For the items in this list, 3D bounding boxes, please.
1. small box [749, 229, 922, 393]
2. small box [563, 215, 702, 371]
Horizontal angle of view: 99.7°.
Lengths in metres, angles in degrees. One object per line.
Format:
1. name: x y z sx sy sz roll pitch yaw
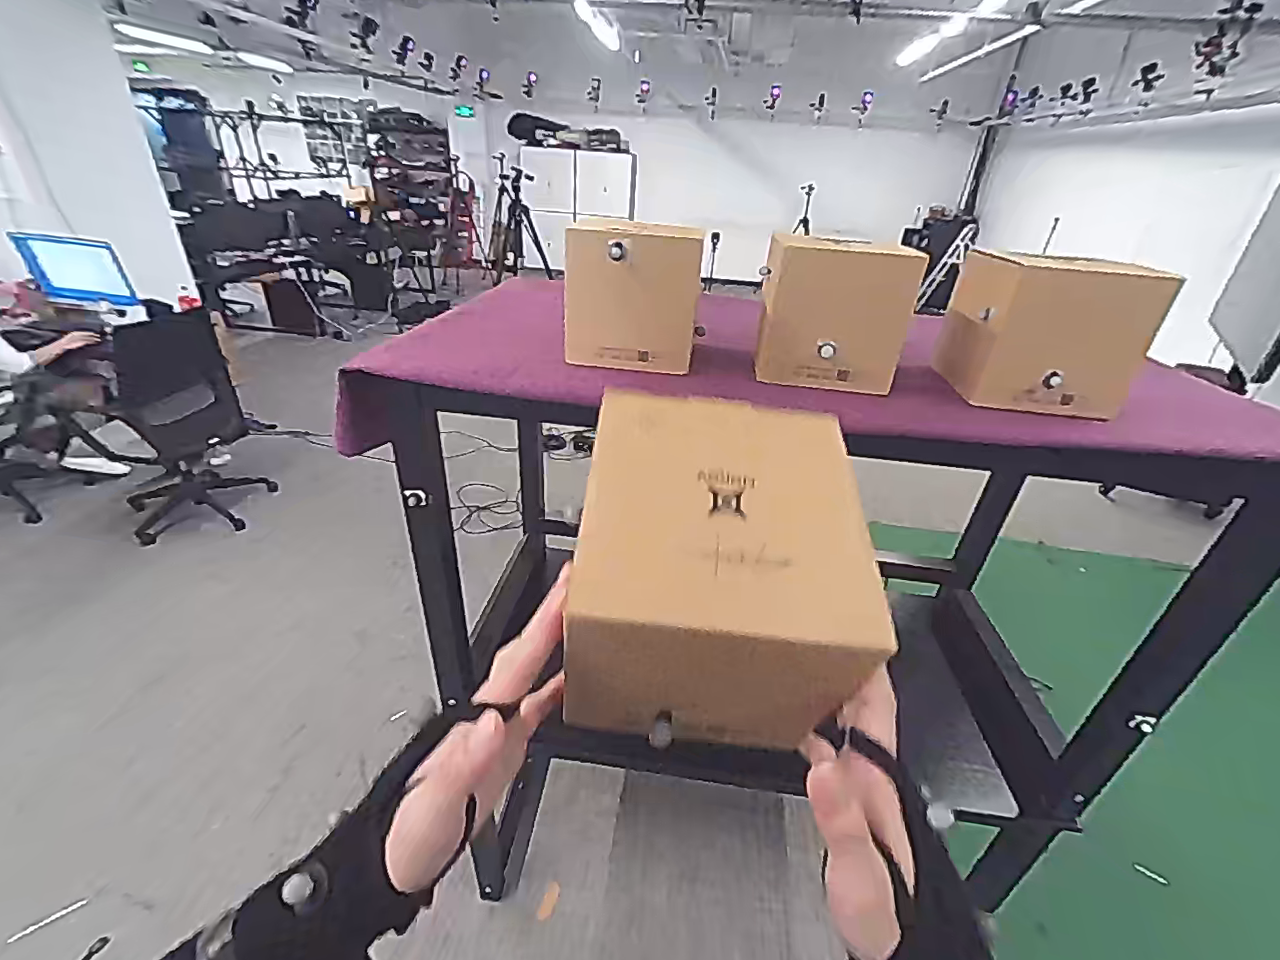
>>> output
1. small box: 0.242 -0.230 0.722 0.168 0.176 0.179 7 30 5
2. small box: -0.009 -0.260 0.740 0.168 0.176 0.179 6 28 4
